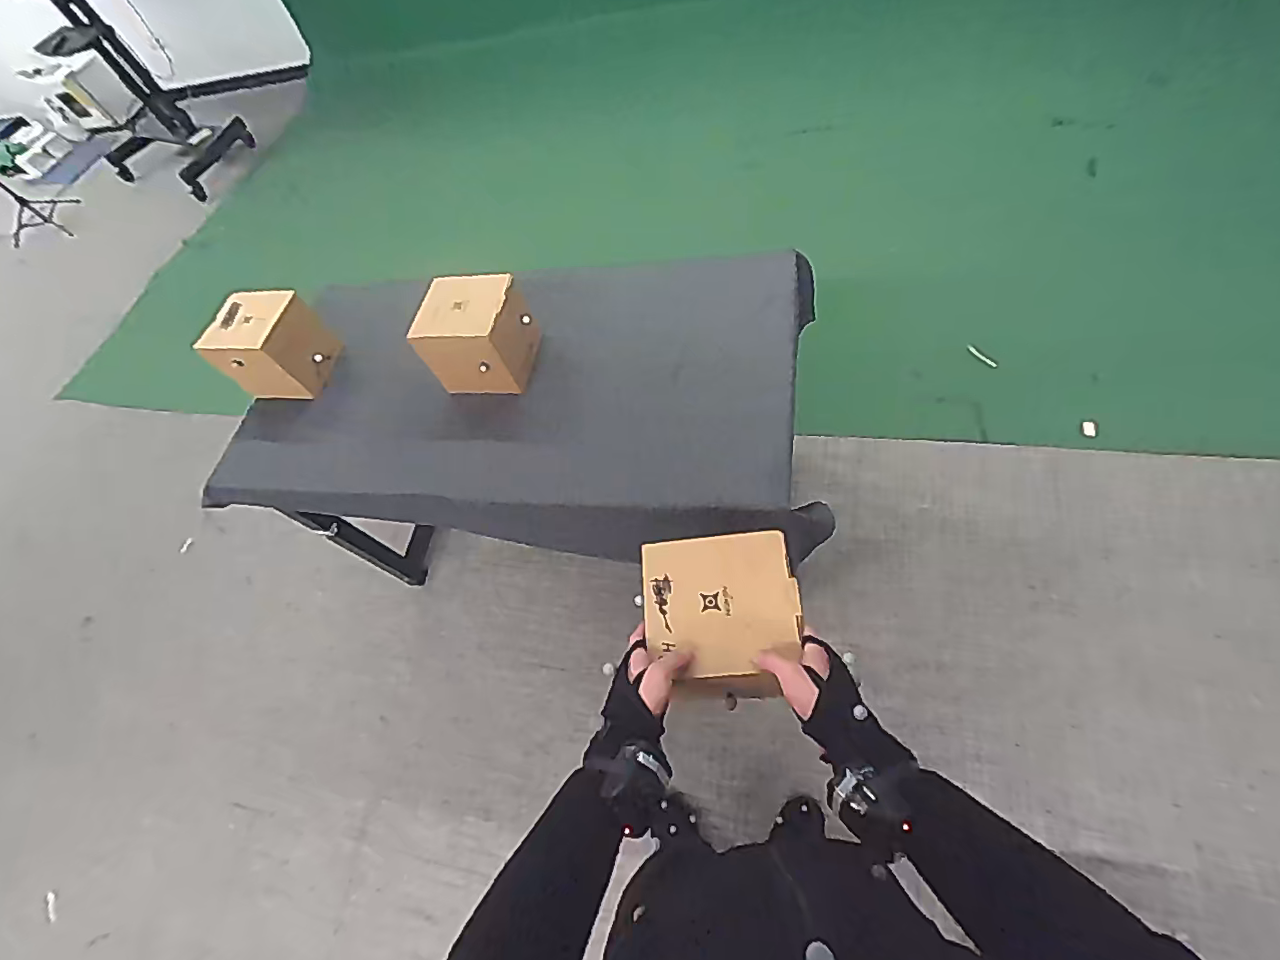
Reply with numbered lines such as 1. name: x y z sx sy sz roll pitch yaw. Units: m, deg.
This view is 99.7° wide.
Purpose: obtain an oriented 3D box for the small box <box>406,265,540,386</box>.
1. small box: -0.318 -0.301 1.073 0.179 0.176 0.168 2 61 14

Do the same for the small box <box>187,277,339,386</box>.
1. small box: -0.811 -0.321 1.182 0.179 0.176 0.168 4 63 13

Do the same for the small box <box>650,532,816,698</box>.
1. small box: 0.109 0.177 0.685 0.179 0.176 0.168 -5 60 6
